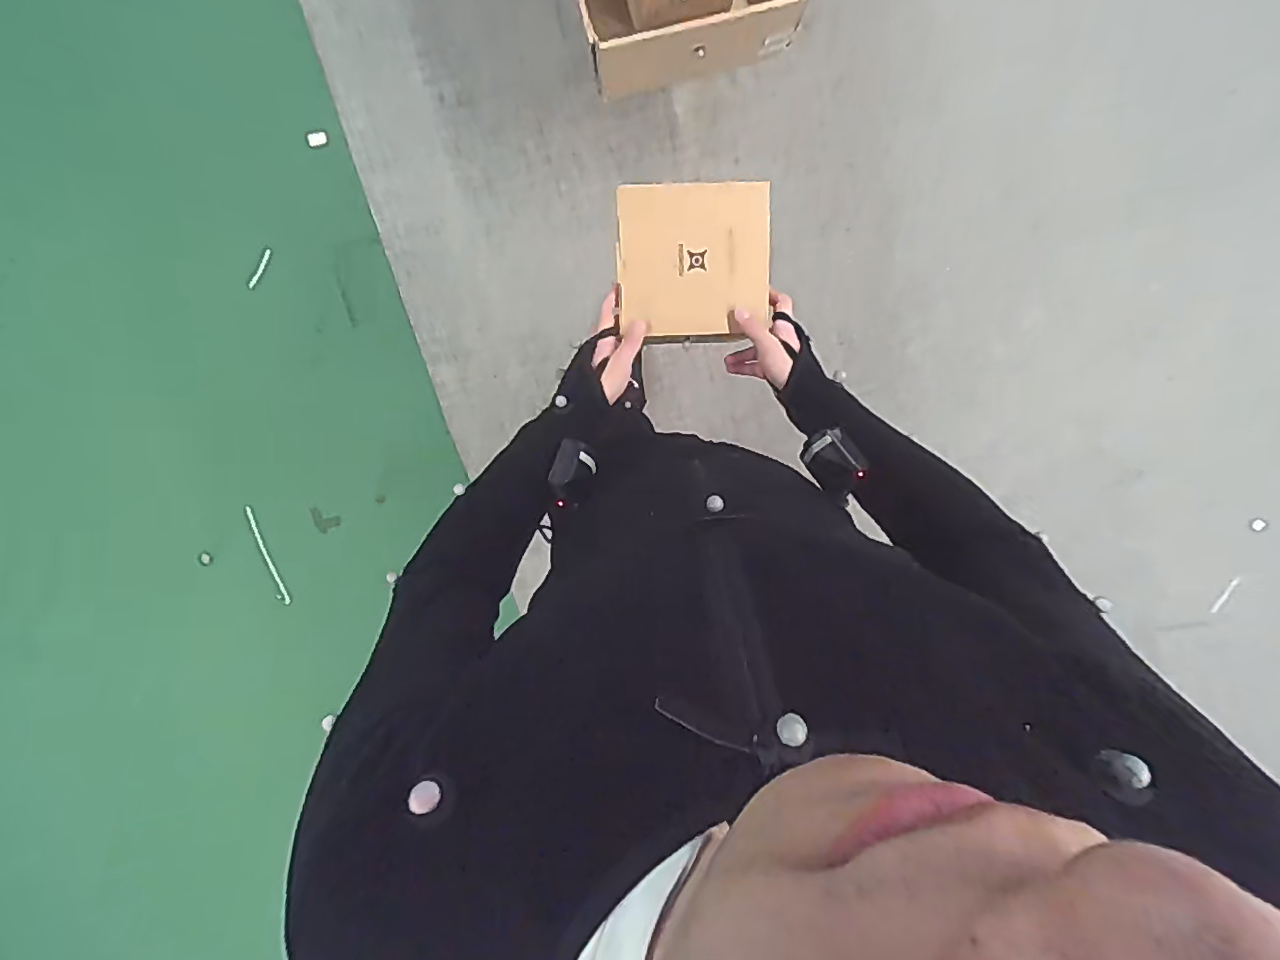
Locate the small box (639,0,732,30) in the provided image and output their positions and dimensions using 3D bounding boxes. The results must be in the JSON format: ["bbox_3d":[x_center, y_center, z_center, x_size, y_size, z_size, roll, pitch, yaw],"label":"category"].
[{"bbox_3d":[0.077,-0.926,0.931,0.179,0.176,0.168,-12,100,0],"label":"small box"}]

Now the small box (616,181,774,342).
[{"bbox_3d":[0.062,-0.265,0.691,0.179,0.176,0.168,-2,102,-1],"label":"small box"}]
